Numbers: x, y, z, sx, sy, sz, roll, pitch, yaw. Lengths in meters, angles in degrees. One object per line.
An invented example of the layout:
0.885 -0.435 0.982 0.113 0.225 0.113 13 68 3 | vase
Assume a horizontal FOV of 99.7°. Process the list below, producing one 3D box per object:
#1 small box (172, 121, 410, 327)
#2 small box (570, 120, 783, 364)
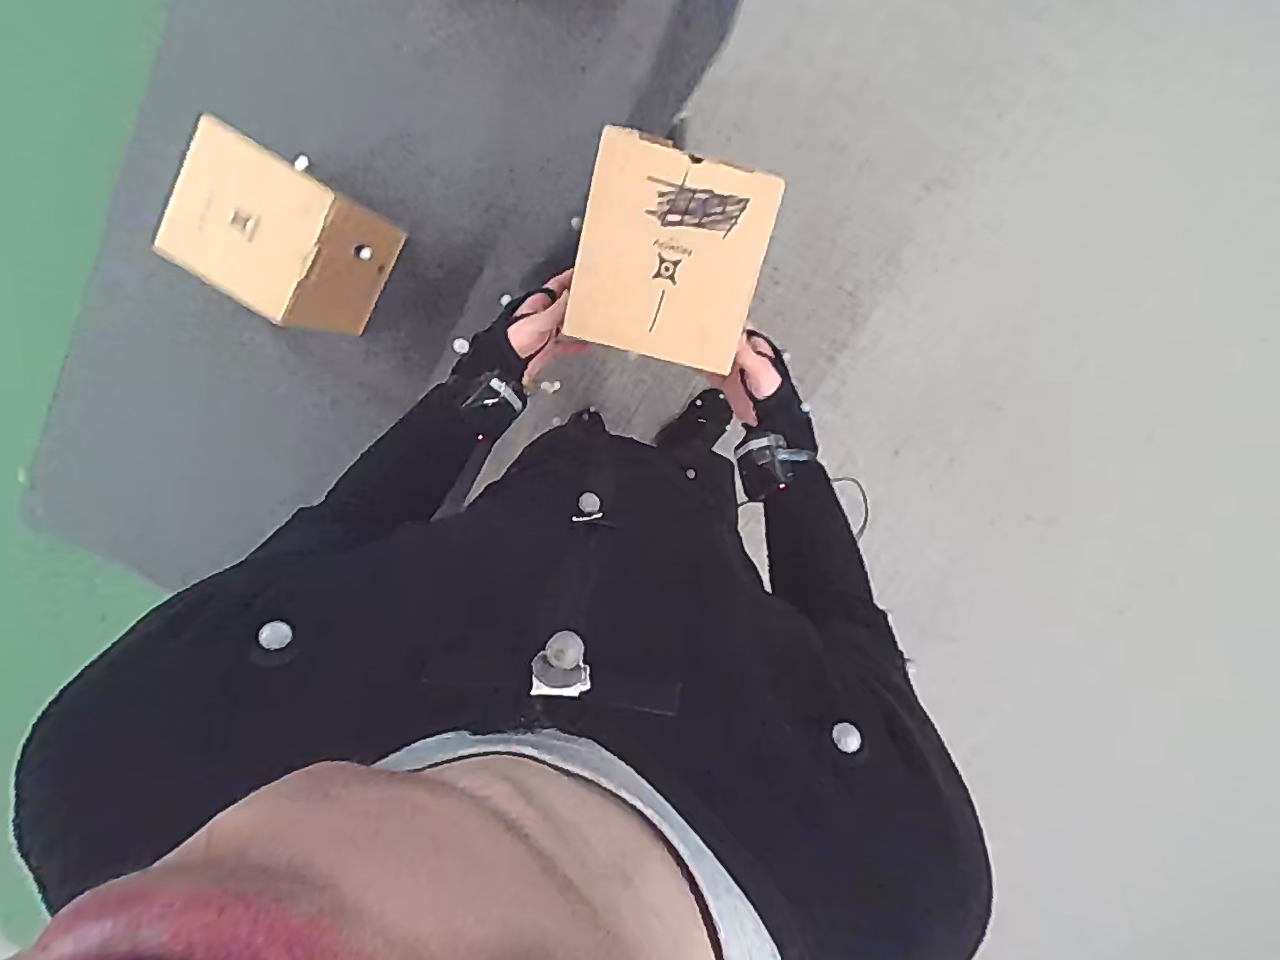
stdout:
-0.441 -0.317 0.714 0.179 0.176 0.168 31 101 -1 | small box
0.025 -0.233 0.565 0.168 0.176 0.179 11 108 -7 | small box
